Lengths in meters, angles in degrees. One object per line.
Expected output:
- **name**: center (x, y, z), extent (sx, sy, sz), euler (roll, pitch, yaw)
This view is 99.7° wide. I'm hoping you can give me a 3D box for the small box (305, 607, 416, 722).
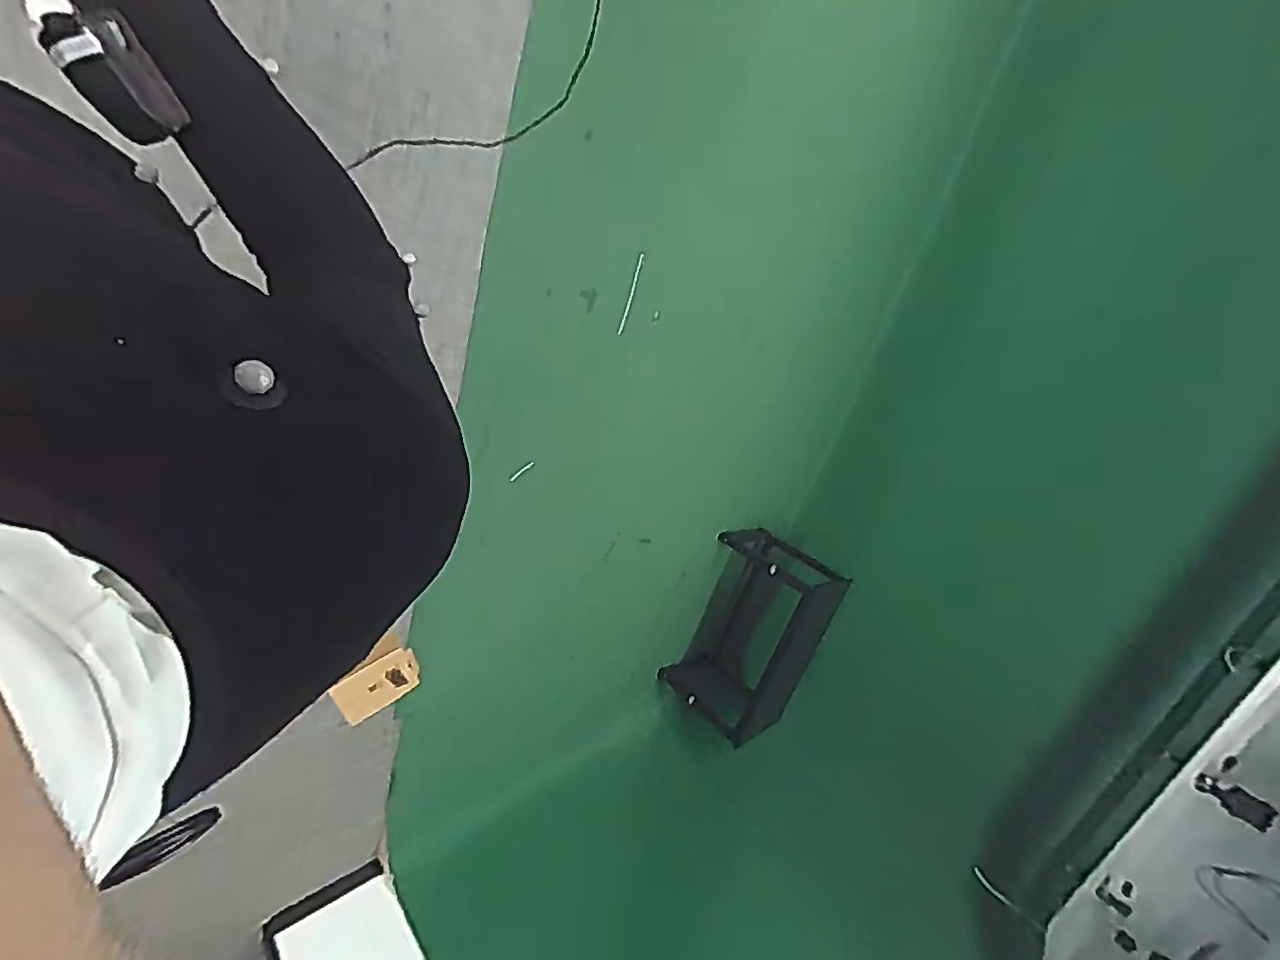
- **small box**: center (-0.698, 0.454, 1.353), extent (0.179, 0.176, 0.168), euler (-30, 136, -32)
